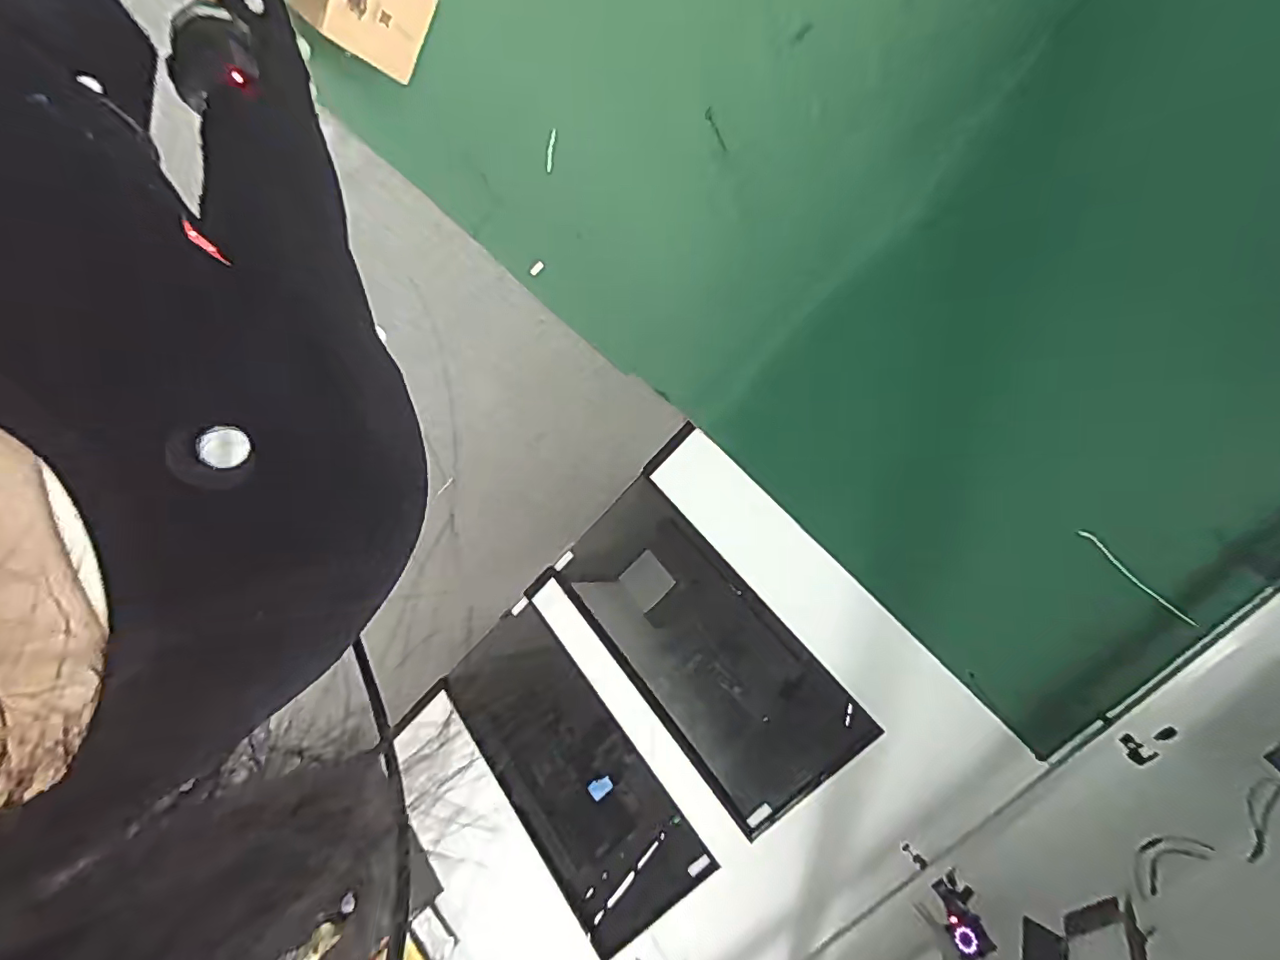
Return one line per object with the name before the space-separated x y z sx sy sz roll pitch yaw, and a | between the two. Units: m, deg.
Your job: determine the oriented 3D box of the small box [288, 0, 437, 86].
small box | -0.529 -0.907 1.024 0.168 0.176 0.179 -52 156 24
